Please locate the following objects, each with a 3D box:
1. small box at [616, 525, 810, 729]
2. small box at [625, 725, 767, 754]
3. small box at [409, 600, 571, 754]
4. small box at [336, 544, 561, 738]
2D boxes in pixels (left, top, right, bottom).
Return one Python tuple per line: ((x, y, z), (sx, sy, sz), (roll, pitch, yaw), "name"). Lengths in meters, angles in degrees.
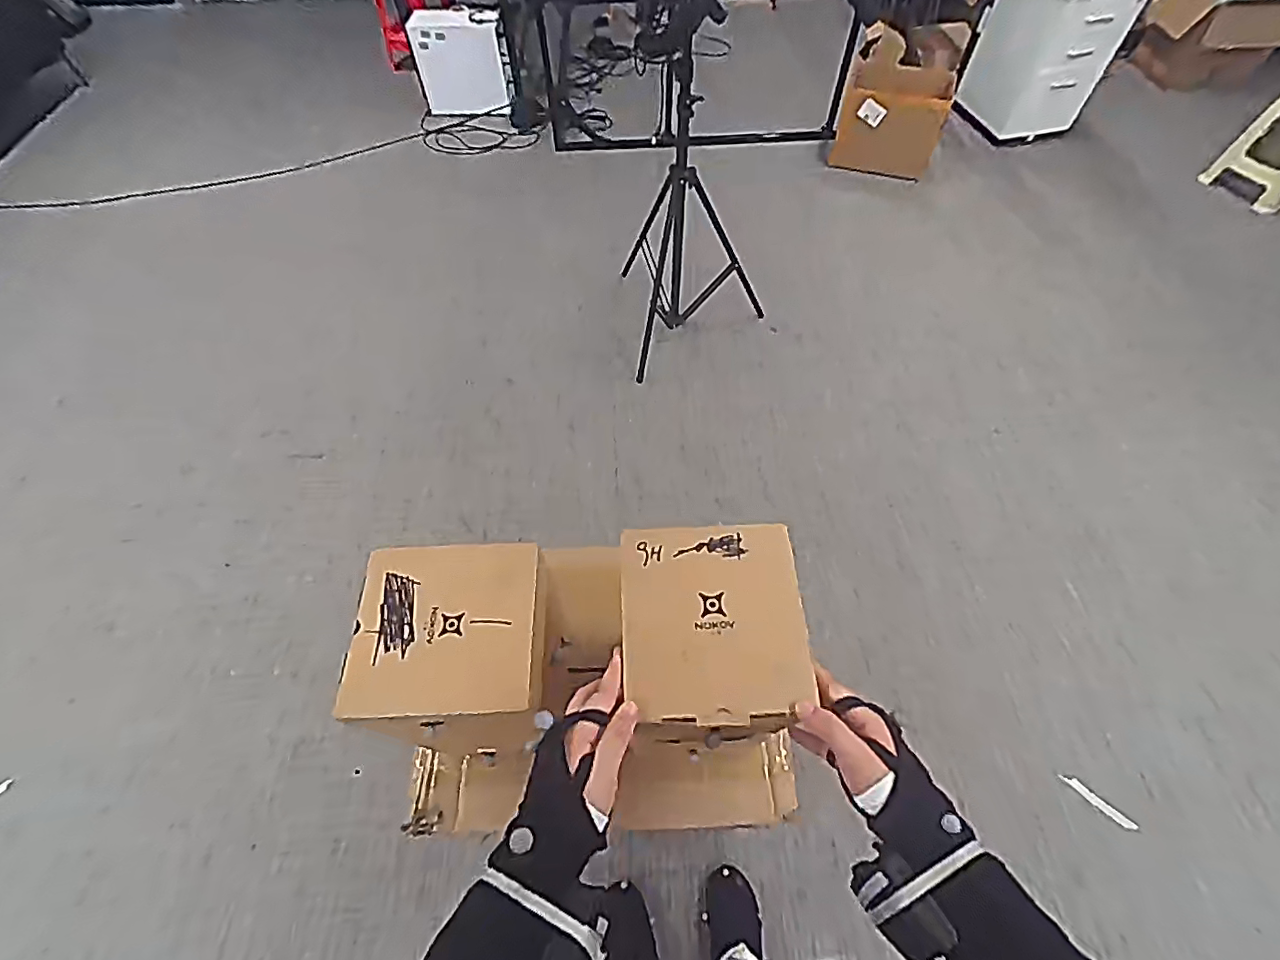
((0.064, 0.162, 0.565), (0.168, 0.176, 0.179), (-3, 62, 0), "small box")
((0.065, 0.262, 0.729), (0.168, 0.176, 0.179), (-3, 59, 1), "small box")
((-0.188, 0.267, 0.735), (0.168, 0.176, 0.179), (-2, 59, 0), "small box")
((-0.188, 0.182, 0.594), (0.179, 0.176, 0.168), (-2, 58, -1), "small box")
